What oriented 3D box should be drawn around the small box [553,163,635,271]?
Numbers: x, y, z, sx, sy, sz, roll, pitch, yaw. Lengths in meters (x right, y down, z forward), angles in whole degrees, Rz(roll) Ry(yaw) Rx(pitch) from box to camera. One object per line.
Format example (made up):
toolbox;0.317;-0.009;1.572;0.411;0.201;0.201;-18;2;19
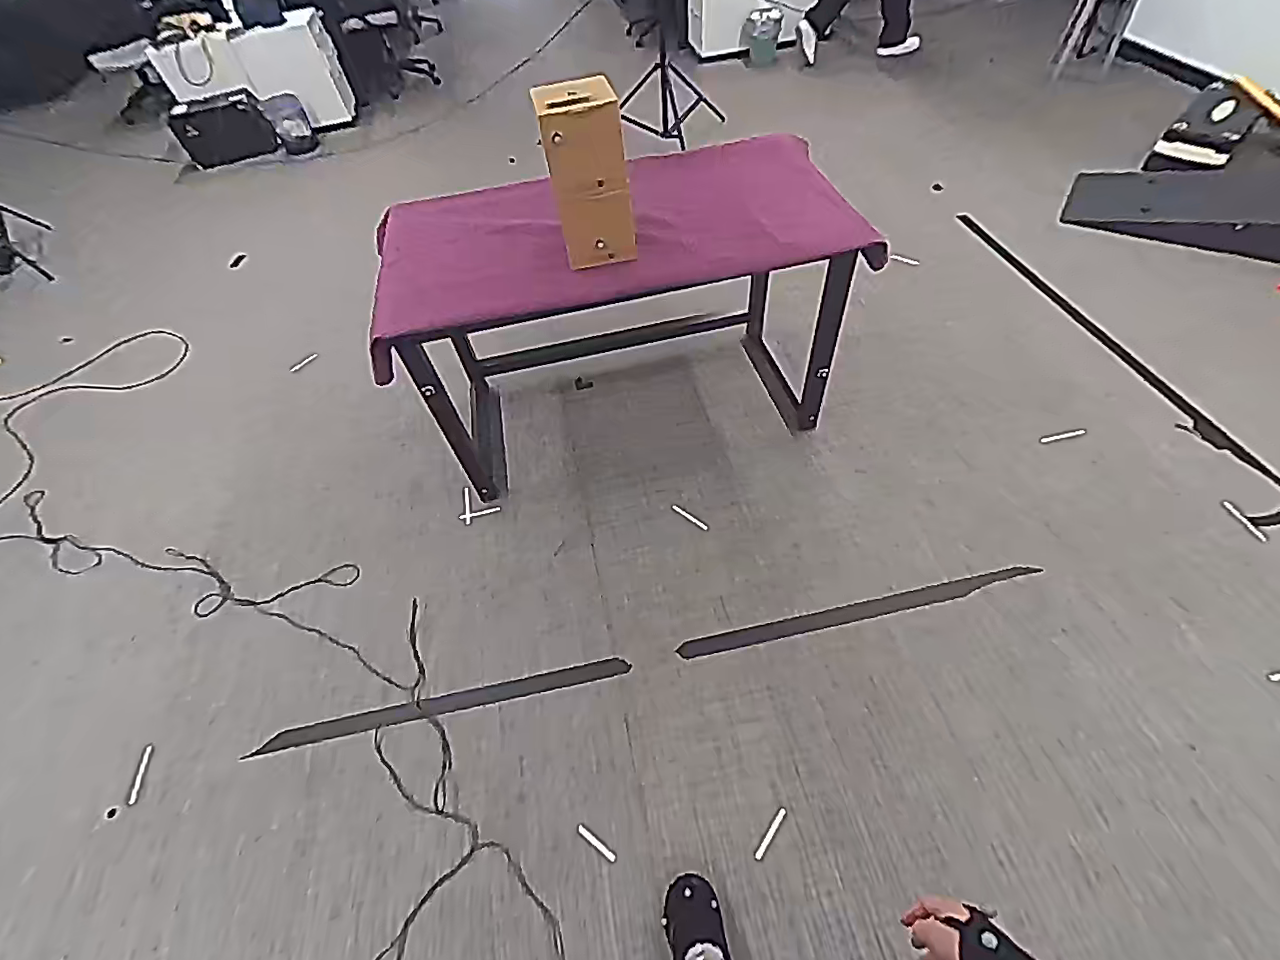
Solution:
small box;-0.111;-0.635;1.312;0.168;0.176;0.179;-11;52;-1
